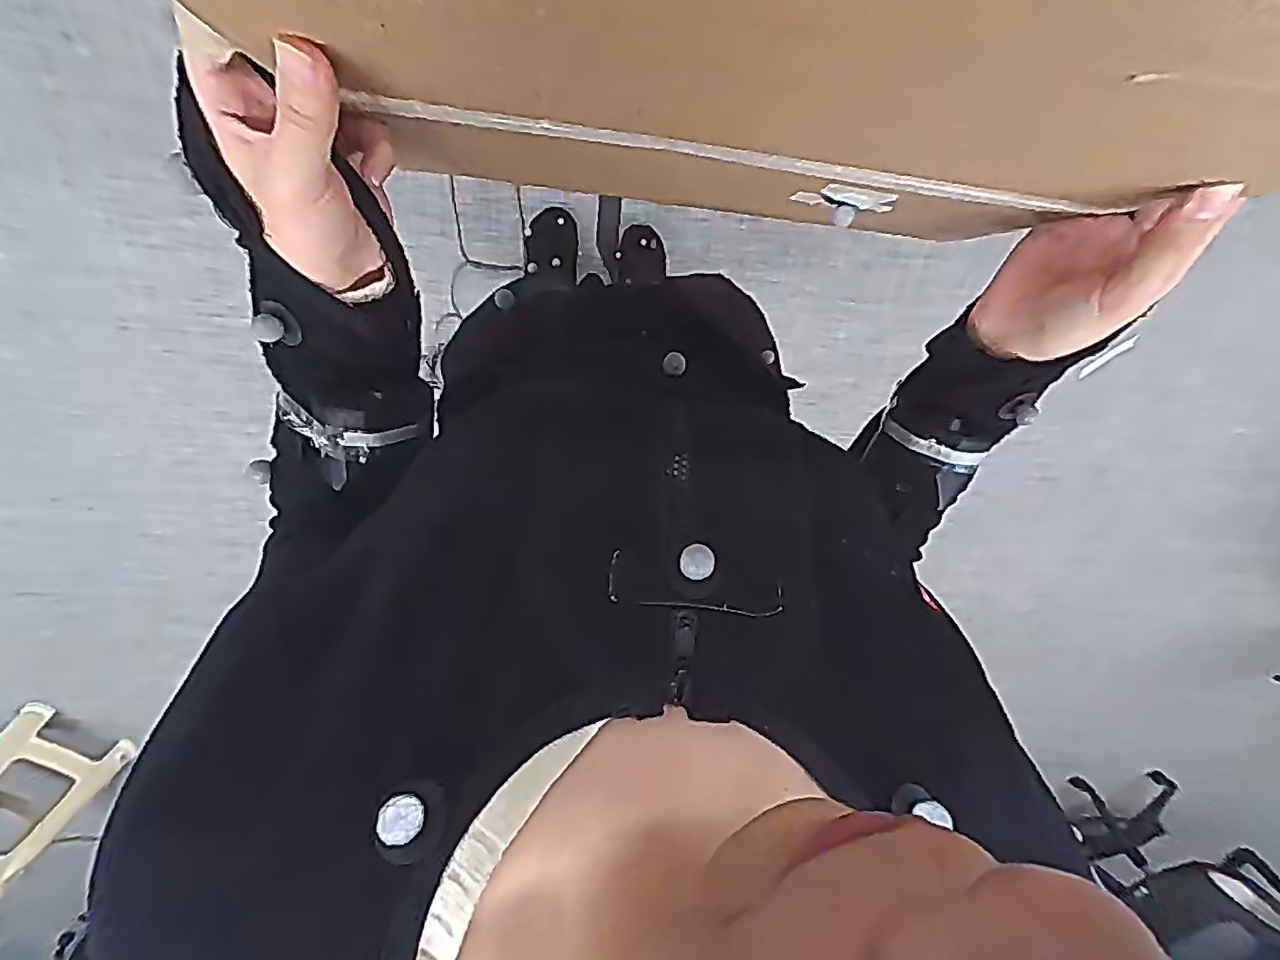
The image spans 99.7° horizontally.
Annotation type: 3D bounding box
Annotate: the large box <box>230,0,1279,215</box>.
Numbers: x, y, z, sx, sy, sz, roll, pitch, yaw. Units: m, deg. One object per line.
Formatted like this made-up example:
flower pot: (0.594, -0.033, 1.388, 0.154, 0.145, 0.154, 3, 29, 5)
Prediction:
large box: (0.068, -0.303, 0.190, 0.408, 0.320, 0.320, 2, 109, -9)
